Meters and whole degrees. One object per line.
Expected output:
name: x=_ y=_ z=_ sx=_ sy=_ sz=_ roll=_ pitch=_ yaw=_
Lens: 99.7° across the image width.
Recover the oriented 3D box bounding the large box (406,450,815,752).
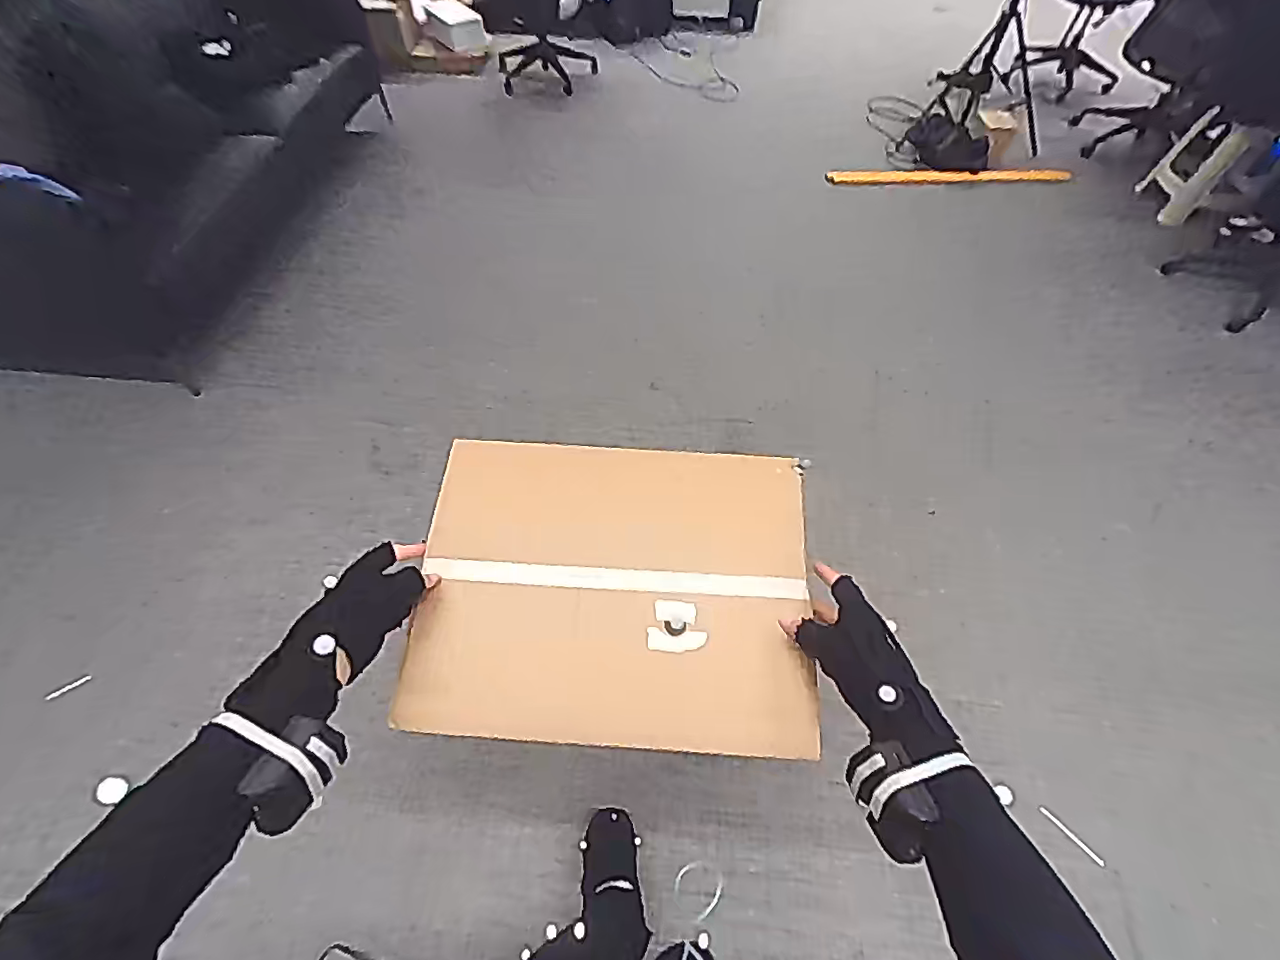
large box: x=-0.024 y=0.177 z=0.716 sx=0.408 sy=0.320 sz=0.320 roll=4 pitch=64 yaw=2
